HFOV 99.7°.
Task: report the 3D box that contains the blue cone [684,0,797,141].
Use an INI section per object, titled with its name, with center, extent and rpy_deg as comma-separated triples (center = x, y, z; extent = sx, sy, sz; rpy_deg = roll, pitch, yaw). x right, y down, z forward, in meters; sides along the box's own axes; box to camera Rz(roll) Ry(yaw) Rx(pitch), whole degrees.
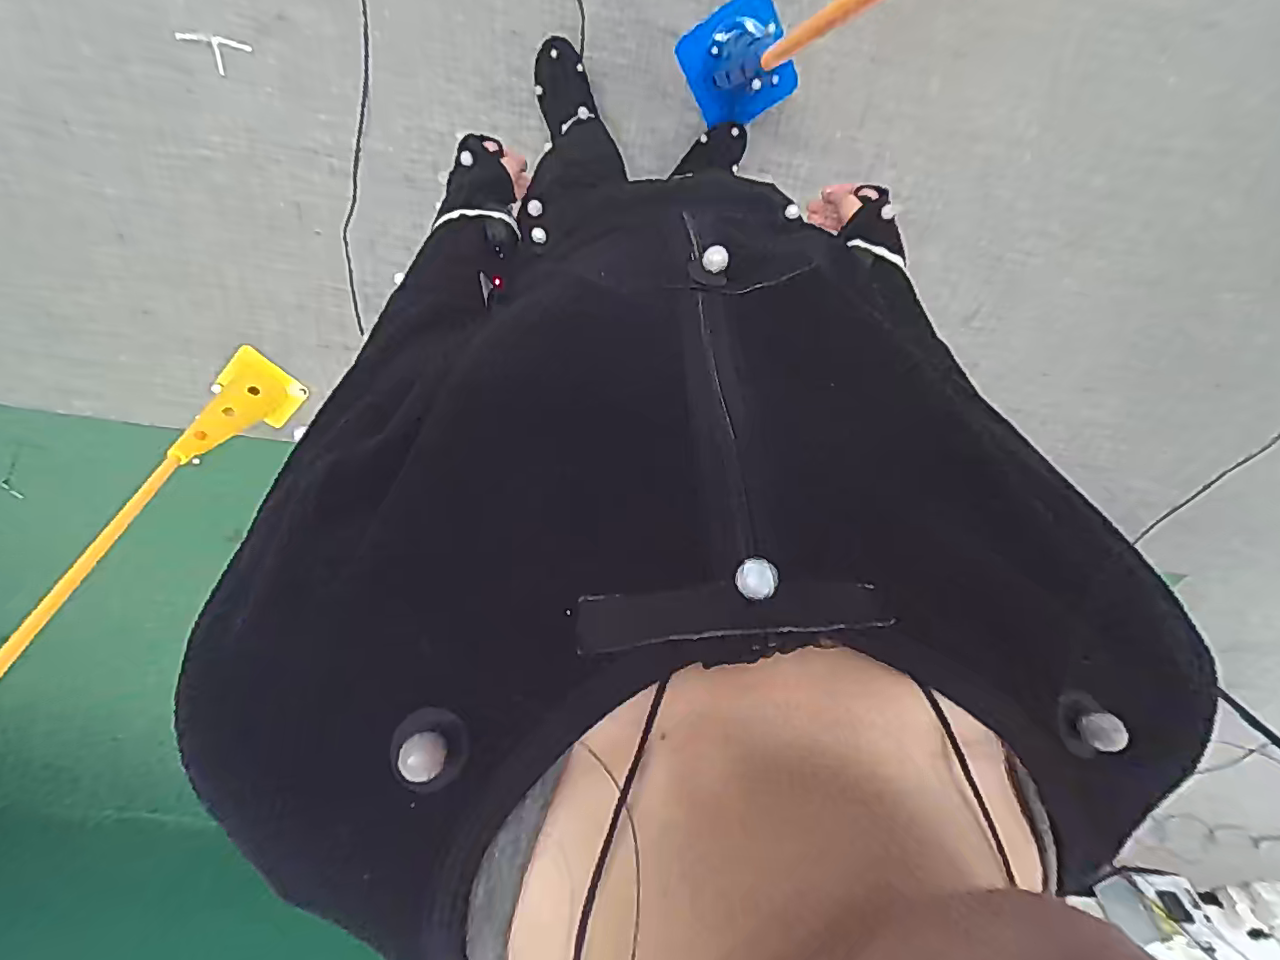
[blue cone]
center = 0.202, -0.728, 0.953
extent = 0.193, 0.380, 0.192
rpy_deg = -27, 122, 18
